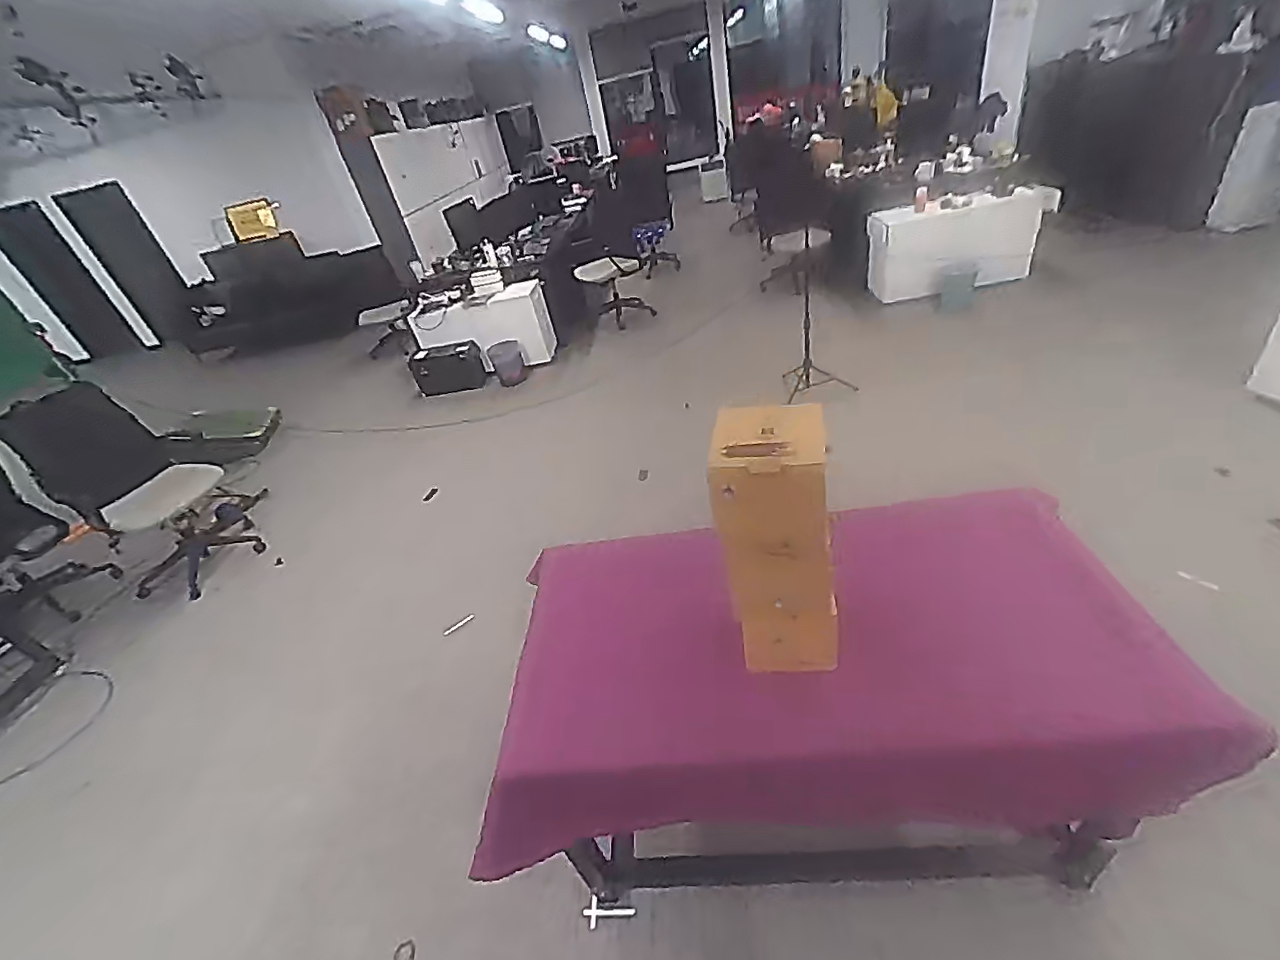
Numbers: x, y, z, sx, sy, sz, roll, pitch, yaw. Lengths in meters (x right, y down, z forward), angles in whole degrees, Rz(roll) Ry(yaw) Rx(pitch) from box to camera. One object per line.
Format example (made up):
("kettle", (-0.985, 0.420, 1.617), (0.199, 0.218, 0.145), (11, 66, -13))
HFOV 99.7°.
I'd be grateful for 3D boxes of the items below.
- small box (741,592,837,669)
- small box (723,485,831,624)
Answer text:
("small box", (0.285, 0.252, 1.052), (0.168, 0.176, 0.179), (-6, 35, 12))
("small box", (0.245, 0.127, 0.951), (0.168, 0.176, 0.179), (-2, 36, 17))
